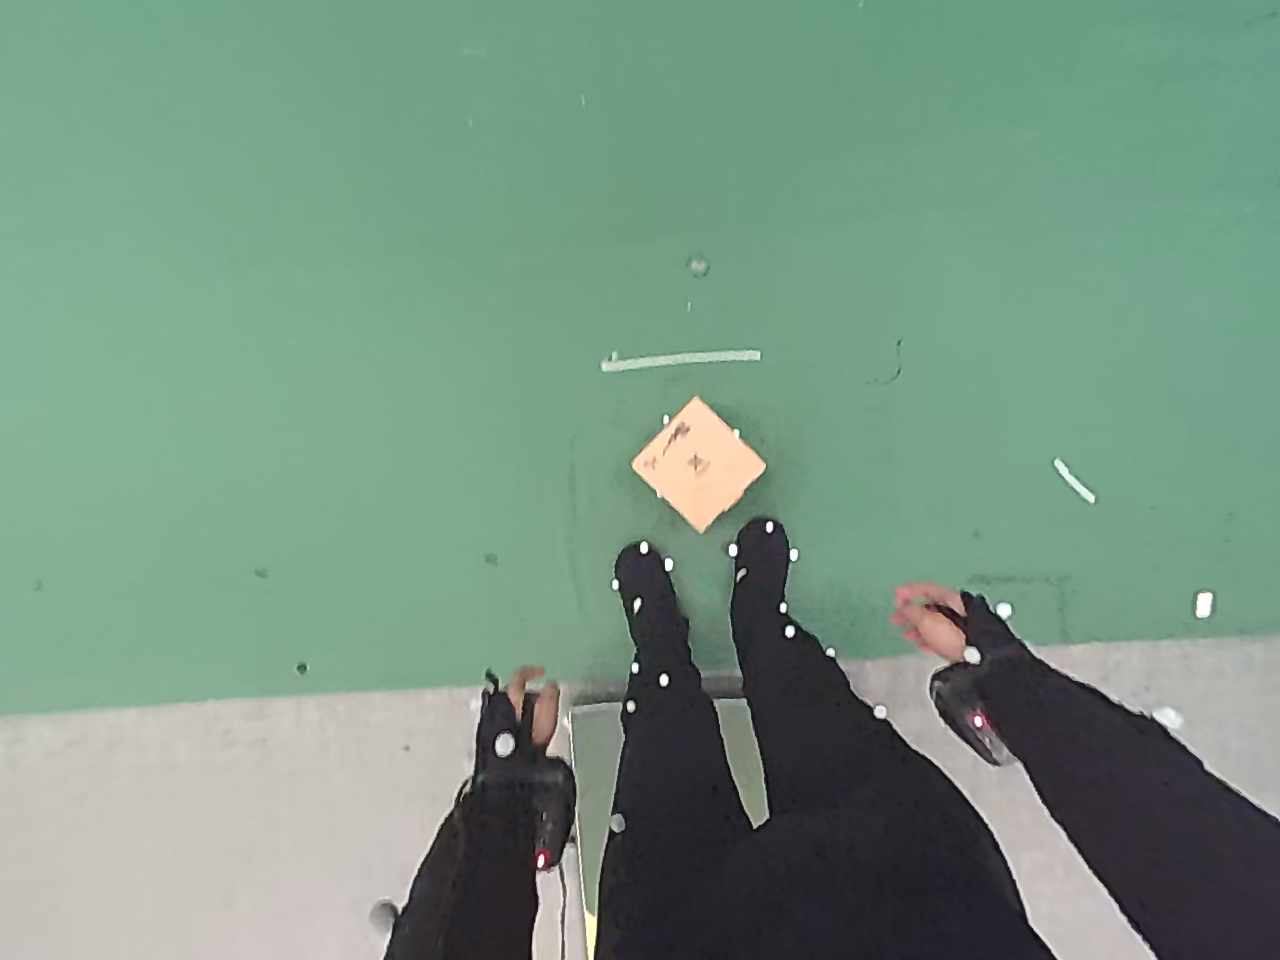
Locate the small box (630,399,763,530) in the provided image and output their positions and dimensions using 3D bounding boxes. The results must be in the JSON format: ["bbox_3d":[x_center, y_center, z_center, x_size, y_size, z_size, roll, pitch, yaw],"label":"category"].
[{"bbox_3d":[0.100,-0.038,1.014,0.179,0.176,0.168,44,96,-4],"label":"small box"}]
